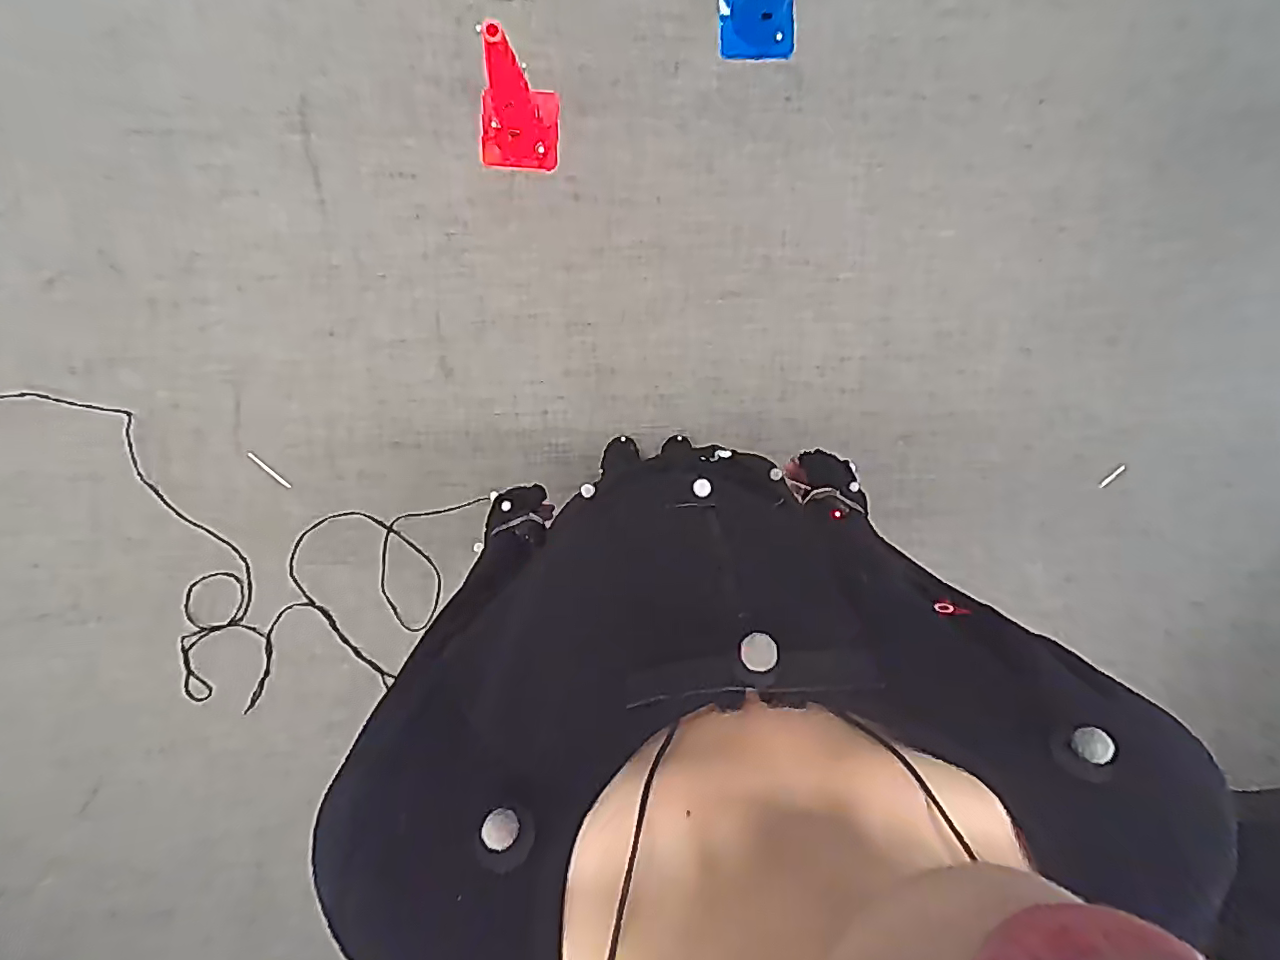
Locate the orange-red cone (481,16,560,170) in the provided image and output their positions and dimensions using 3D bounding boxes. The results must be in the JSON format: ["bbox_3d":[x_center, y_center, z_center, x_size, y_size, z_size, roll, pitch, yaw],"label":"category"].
[{"bbox_3d":[-0.299,-0.909,1.239,0.198,0.360,0.199,3,93,-4],"label":"orange-red cone"}]
